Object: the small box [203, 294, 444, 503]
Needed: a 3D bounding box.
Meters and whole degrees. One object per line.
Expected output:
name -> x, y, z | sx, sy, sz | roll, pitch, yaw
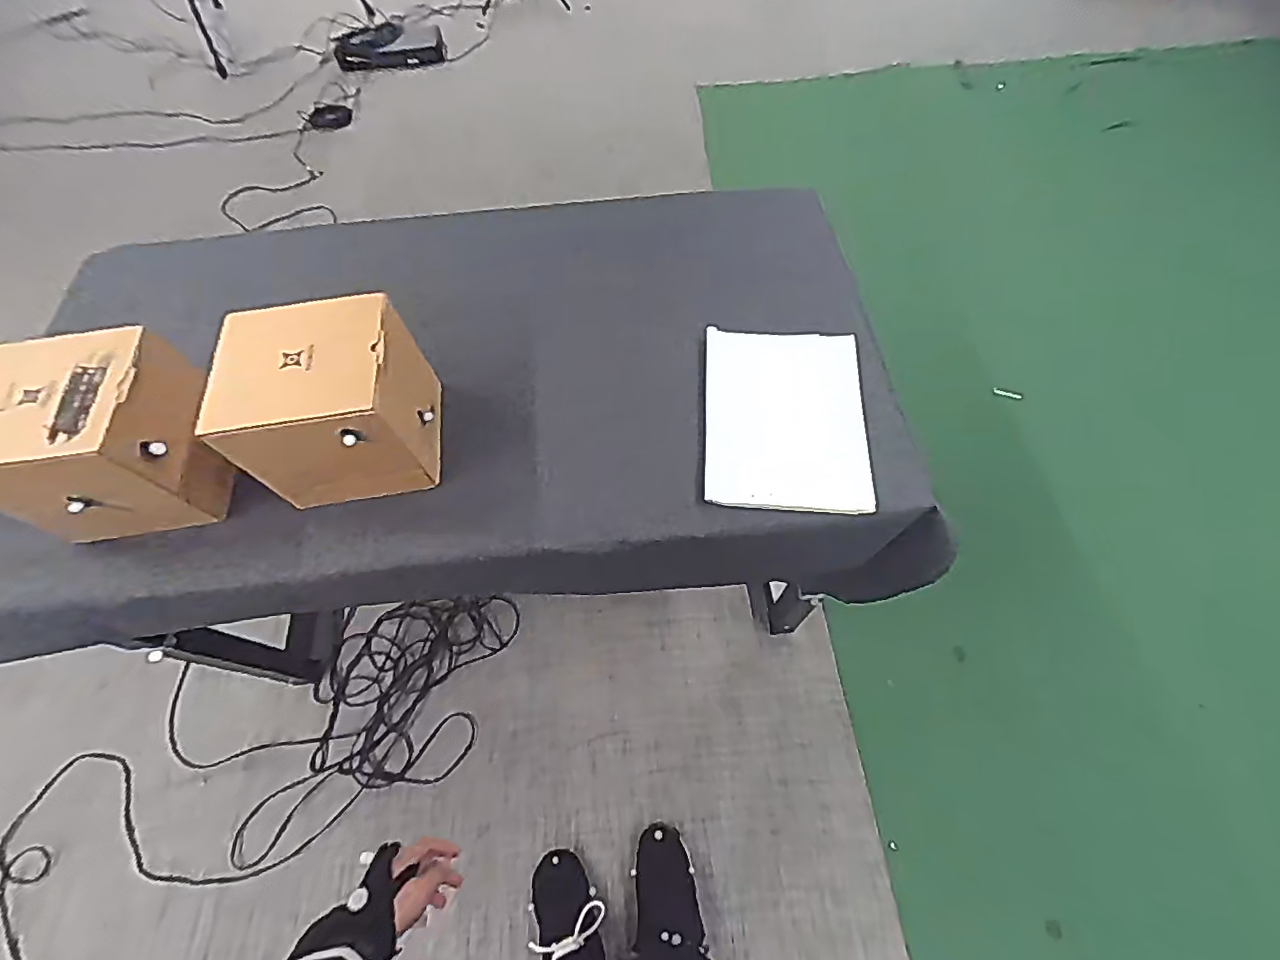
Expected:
small box -> -0.349, -0.087, 0.636 | 0.179, 0.176, 0.168 | -9, 62, -3
